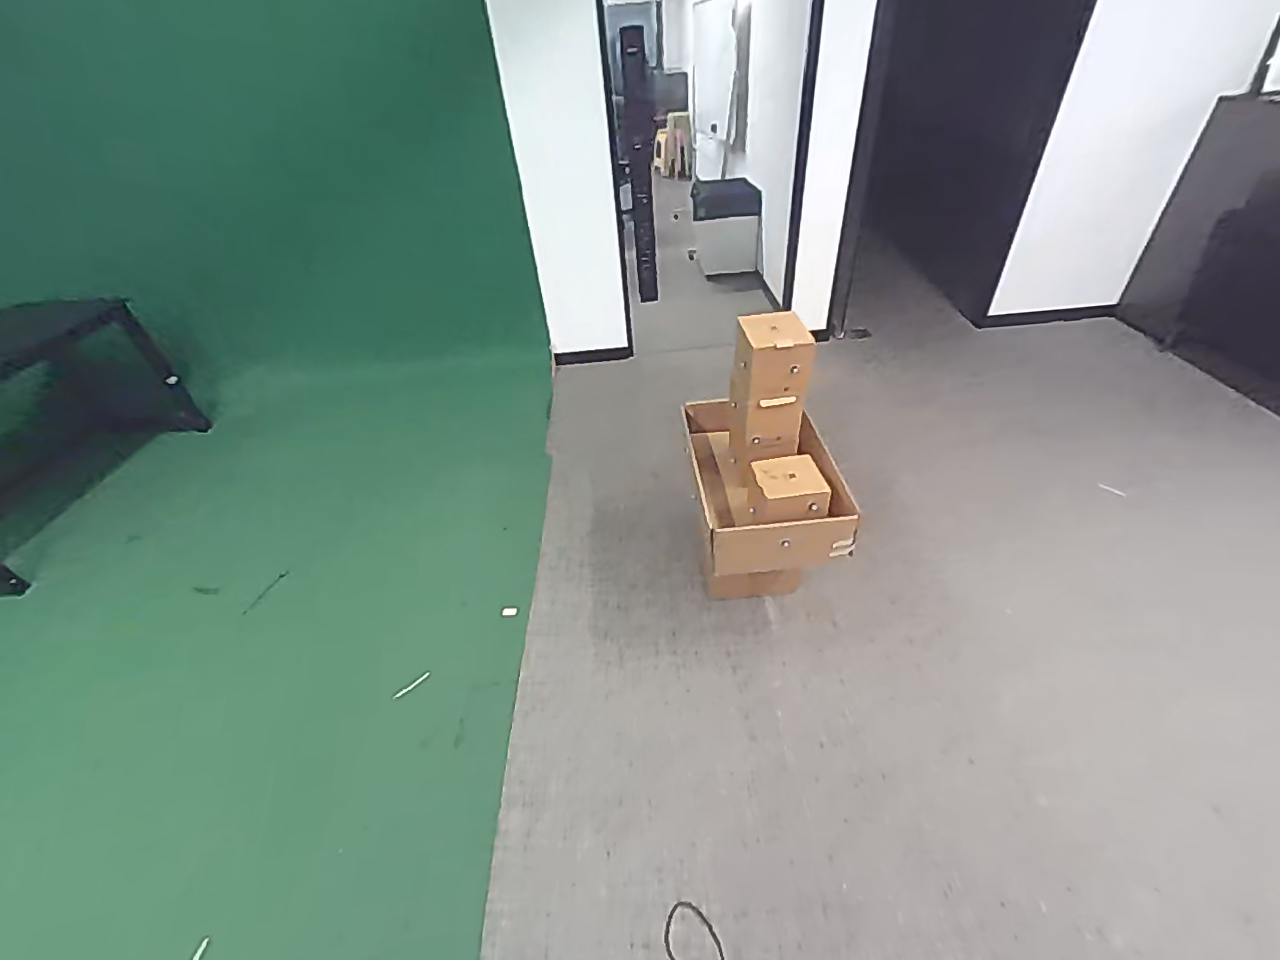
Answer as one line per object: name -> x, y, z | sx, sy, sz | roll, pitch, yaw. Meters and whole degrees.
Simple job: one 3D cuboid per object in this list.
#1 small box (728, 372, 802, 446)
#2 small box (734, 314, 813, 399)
small box -> 0.362, -0.214, 1.598 | 0.168, 0.176, 0.179 | -9, 42, -4
small box -> 0.359, -0.334, 1.488 | 0.168, 0.176, 0.179 | -6, 43, -2
